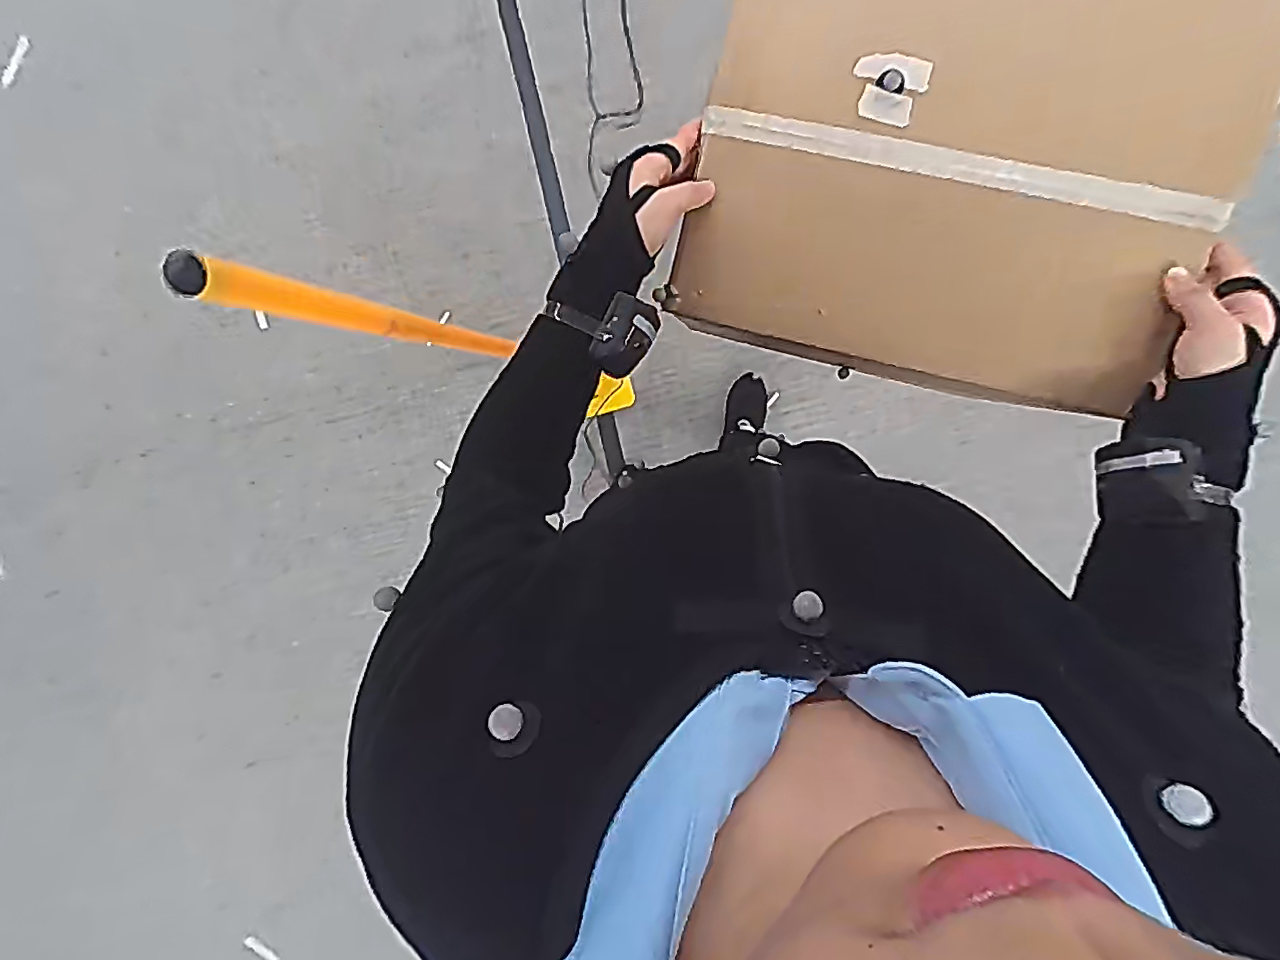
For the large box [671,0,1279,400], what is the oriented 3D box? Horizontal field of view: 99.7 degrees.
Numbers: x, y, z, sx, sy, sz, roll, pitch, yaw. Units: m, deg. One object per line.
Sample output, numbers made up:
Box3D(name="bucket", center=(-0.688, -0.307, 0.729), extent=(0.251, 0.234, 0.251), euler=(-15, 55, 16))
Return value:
Box3D(name="large box", center=(0.276, -0.288, 0.593), extent=(0.408, 0.320, 0.320), euler=(15, 103, 6))
